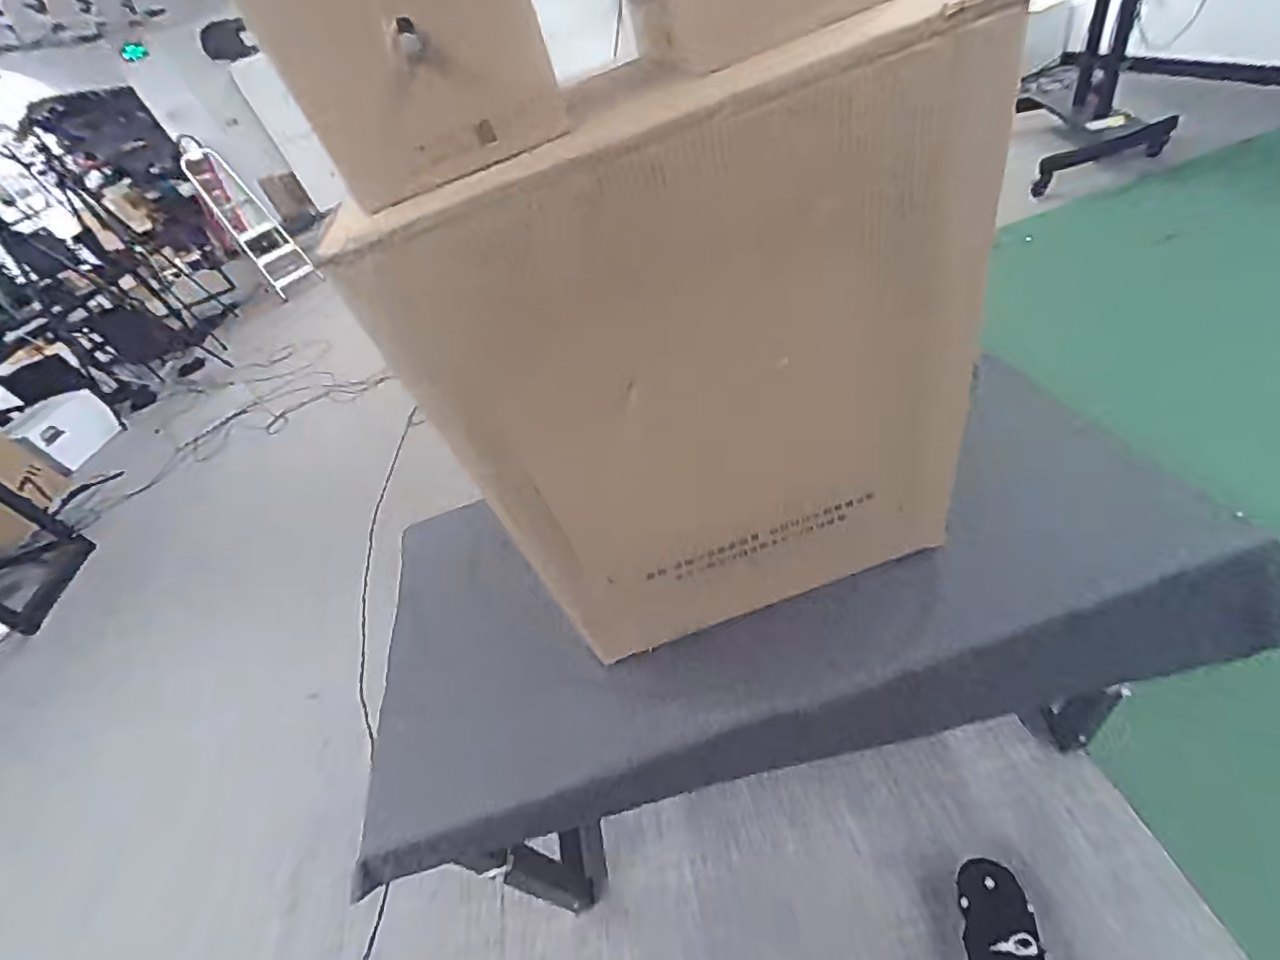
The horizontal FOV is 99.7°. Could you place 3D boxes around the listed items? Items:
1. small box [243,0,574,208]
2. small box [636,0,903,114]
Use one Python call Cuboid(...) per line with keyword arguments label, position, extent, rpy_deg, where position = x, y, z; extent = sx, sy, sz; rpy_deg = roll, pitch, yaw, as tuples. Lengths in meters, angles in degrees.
Cuboid(label="small box", position=(-0.160, -0.328, 0.401), extent=(0.168, 0.176, 0.179), rpy_deg=(-21, 45, 0))
Cuboid(label="small box", position=(0.091, -0.415, 0.415), extent=(0.179, 0.176, 0.168), rpy_deg=(-23, 44, -1))
